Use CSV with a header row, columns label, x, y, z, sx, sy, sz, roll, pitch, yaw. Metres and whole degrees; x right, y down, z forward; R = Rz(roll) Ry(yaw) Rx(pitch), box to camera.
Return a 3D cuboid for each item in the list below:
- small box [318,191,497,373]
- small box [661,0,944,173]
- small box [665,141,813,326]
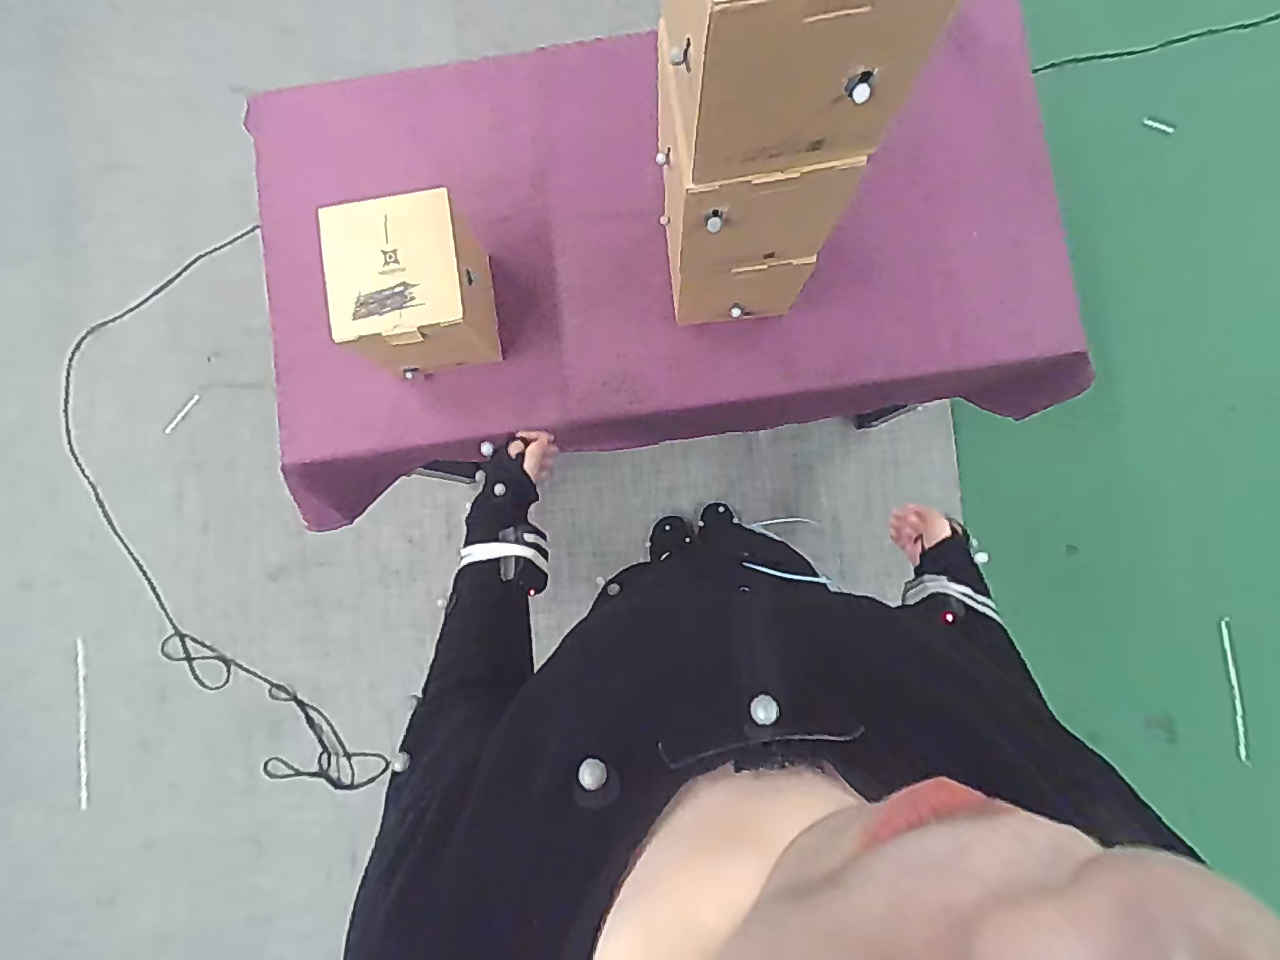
label,x,y,z,sx,sy,sz,roll,pitch,yaw
small box,-0.306,-0.256,0.745,0.168,0.176,0.179,-9,84,1
small box,0.107,-0.363,0.409,0.168,0.176,0.179,-8,84,1
small box,0.122,-0.330,0.735,0.168,0.176,0.179,-6,86,2
